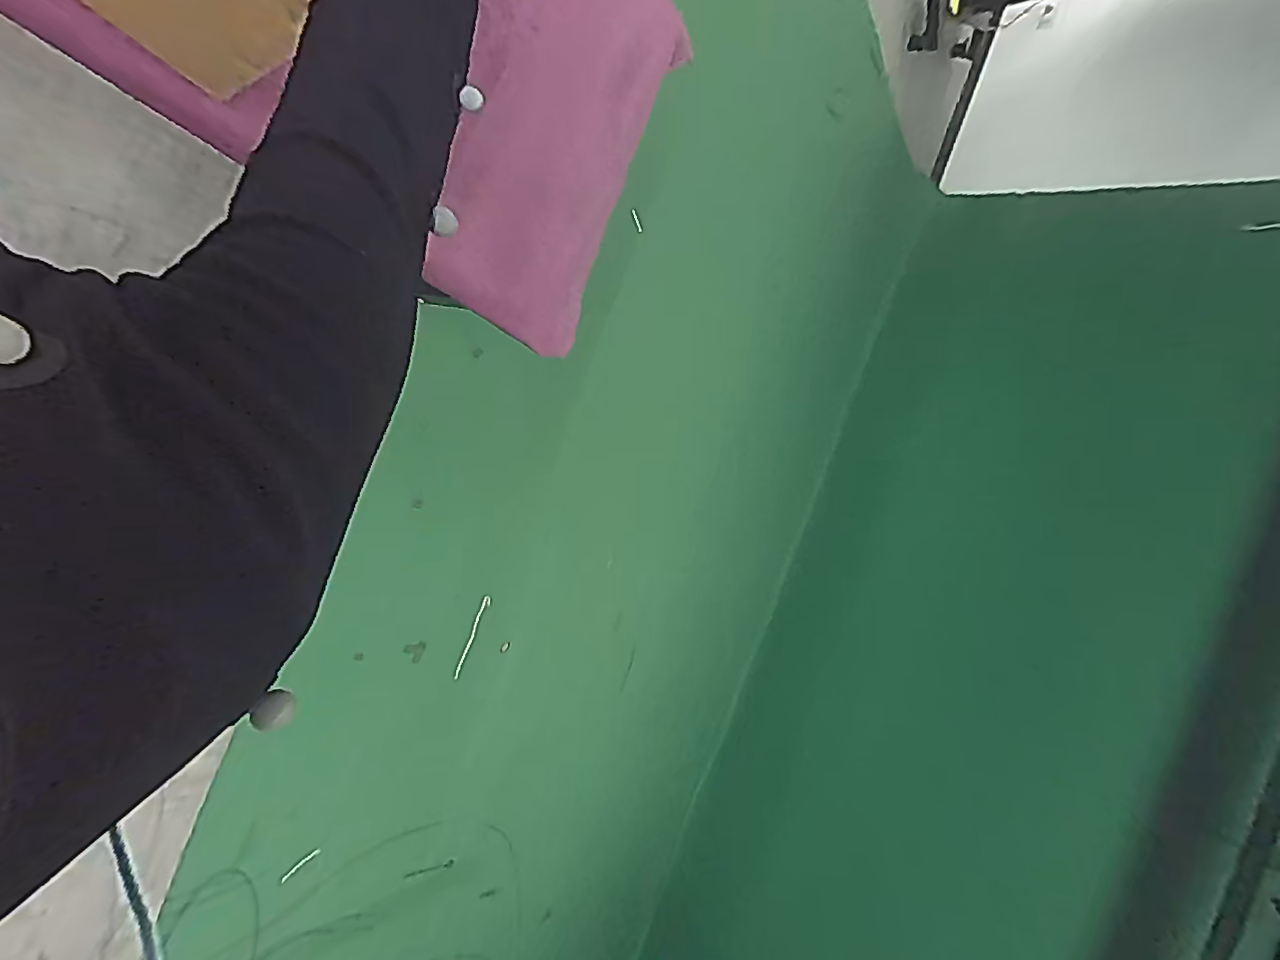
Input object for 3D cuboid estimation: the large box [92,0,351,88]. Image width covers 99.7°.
[{"bbox_3d":[-0.338,-0.589,0.371,0.320,0.320,0.408,28,85,-51],"label":"large box"}]
